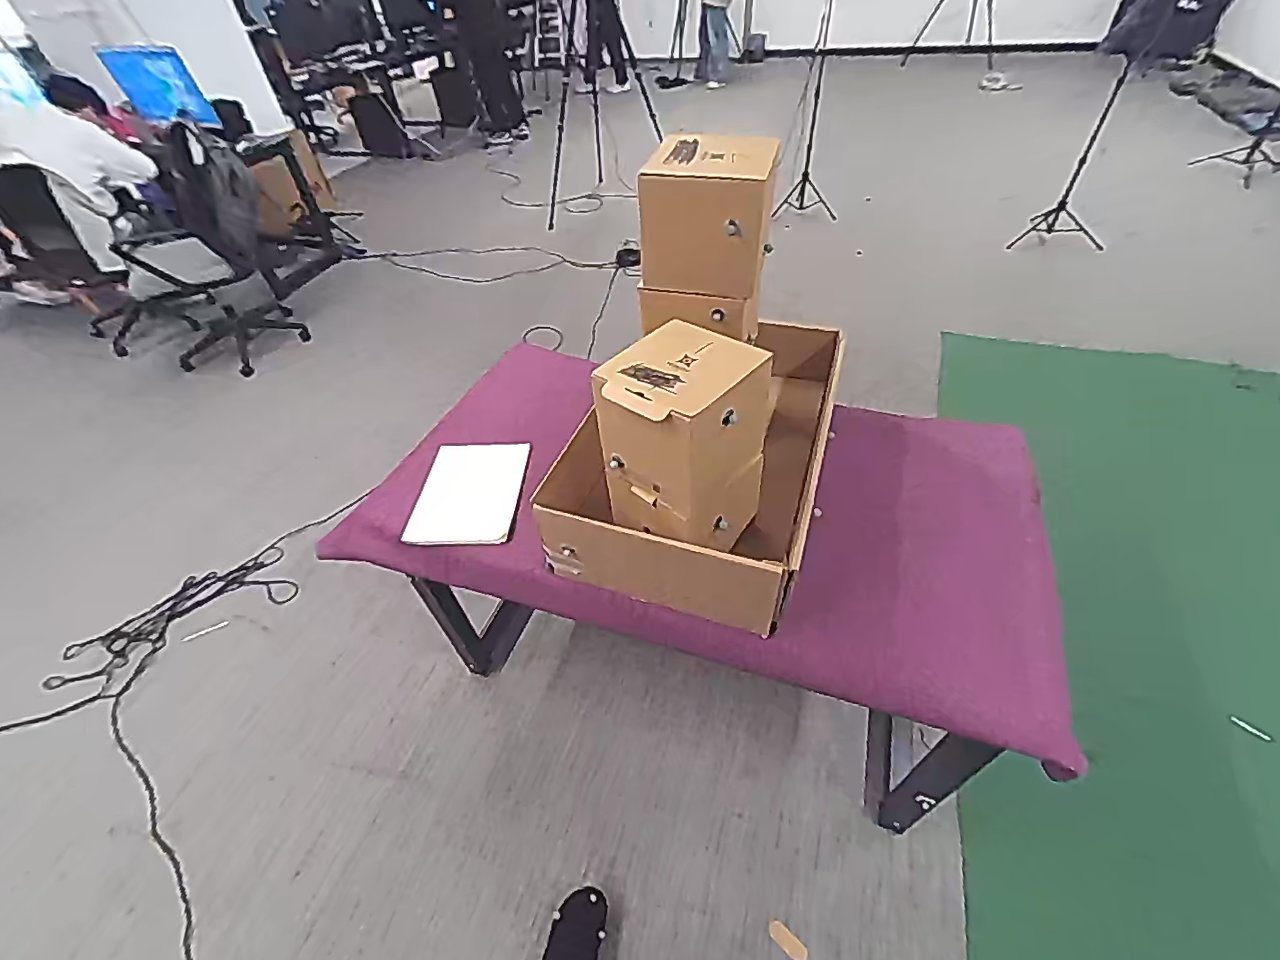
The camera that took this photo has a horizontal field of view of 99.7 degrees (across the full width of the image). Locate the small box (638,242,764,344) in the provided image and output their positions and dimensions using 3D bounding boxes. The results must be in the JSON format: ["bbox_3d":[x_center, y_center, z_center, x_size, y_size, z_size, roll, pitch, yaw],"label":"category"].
[{"bbox_3d":[0.108,-0.292,0.941,0.179,0.176,0.168,11,50,15],"label":"small box"}]

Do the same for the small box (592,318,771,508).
[{"bbox_3d":[0.061,-0.093,0.746,0.168,0.176,0.179,30,54,31],"label":"small box"}]
